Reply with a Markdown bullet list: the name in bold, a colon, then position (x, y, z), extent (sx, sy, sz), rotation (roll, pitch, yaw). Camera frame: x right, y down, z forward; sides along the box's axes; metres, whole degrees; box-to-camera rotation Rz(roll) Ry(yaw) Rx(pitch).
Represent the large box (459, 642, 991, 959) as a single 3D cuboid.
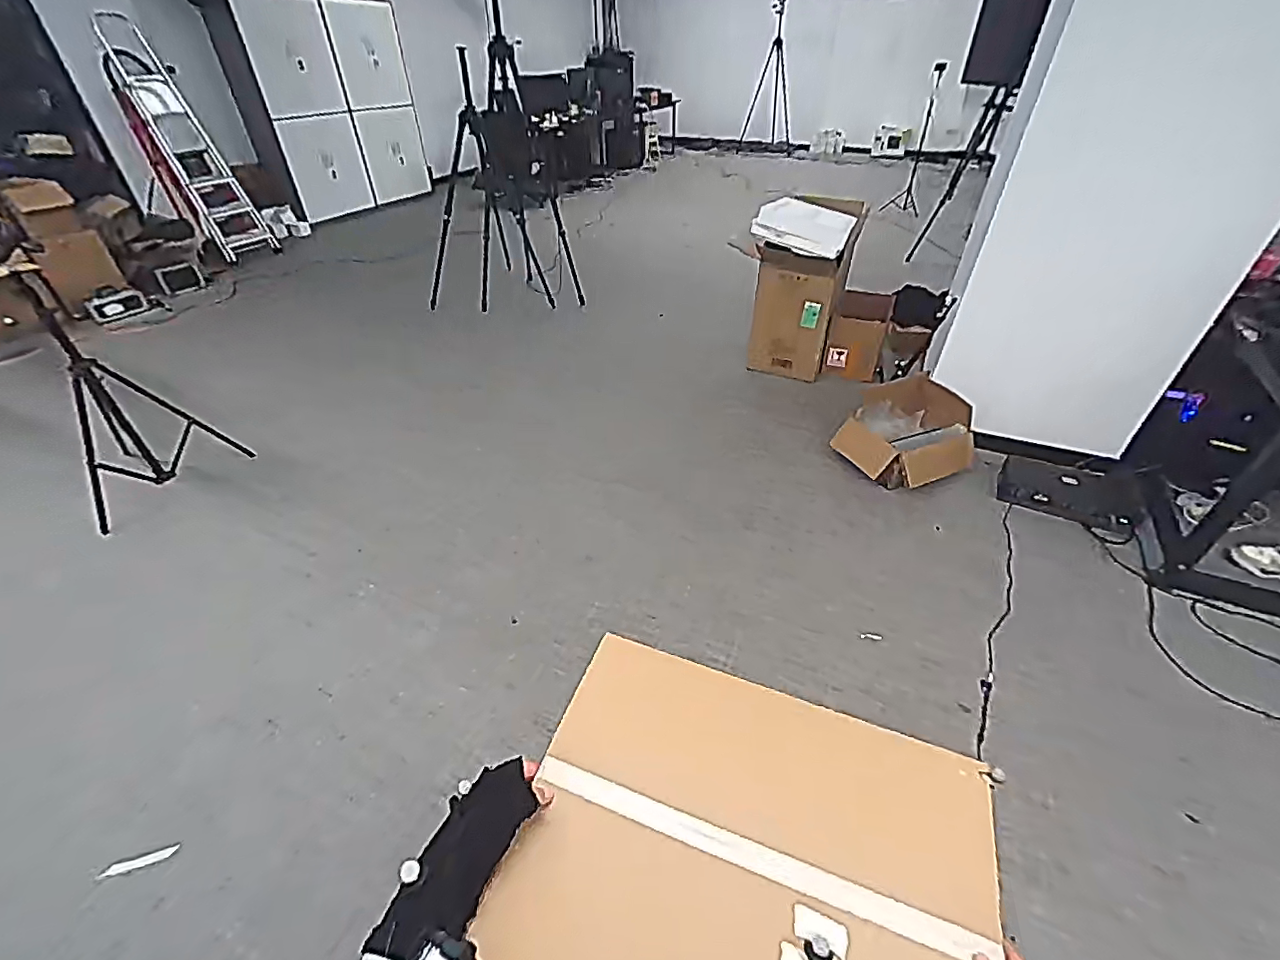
- **large box**: position (0.090, 0.440, 0.578), extent (0.408, 0.320, 0.320), rotation (15, 45, 15)
